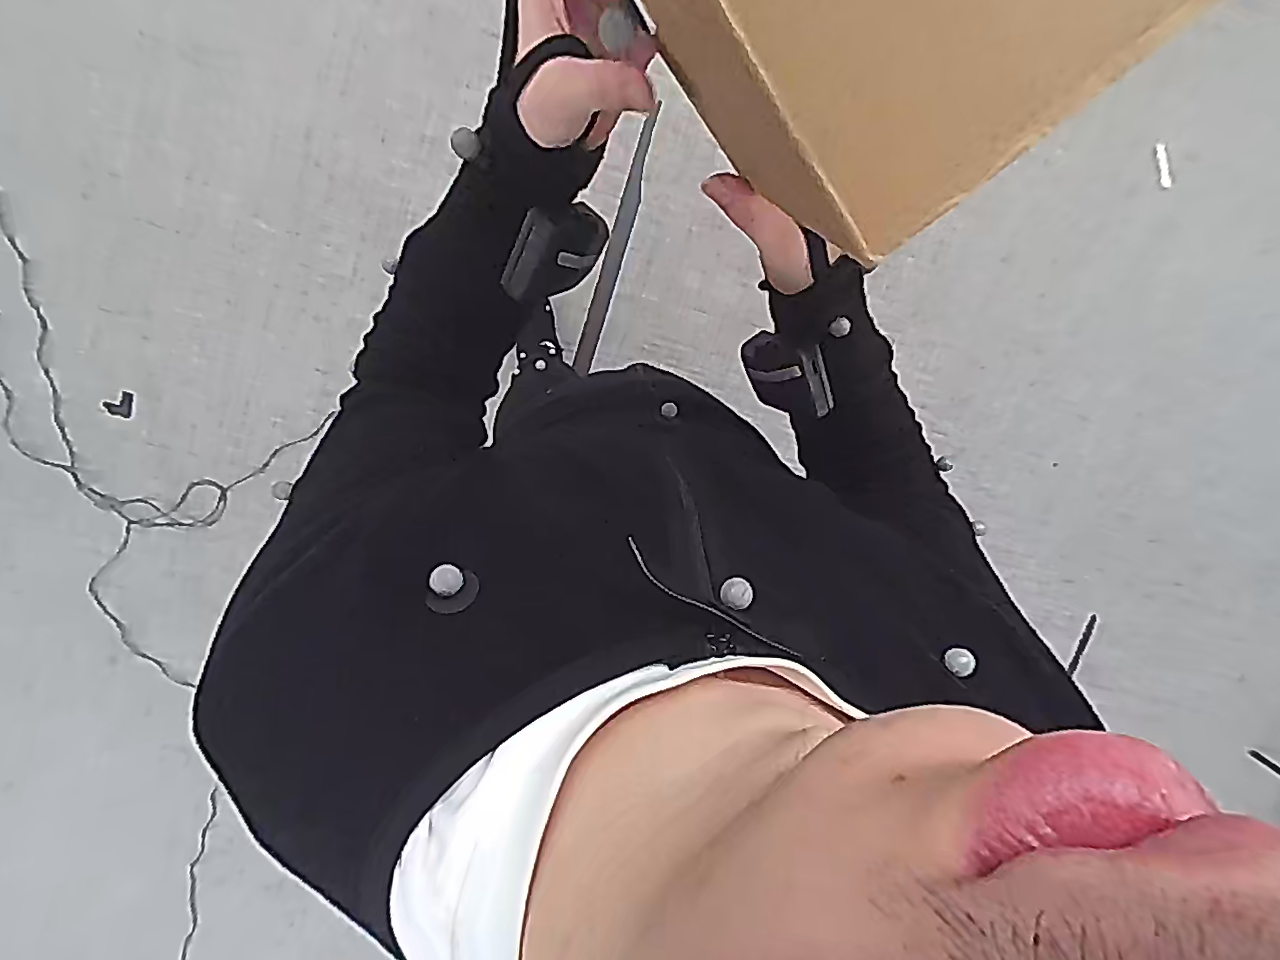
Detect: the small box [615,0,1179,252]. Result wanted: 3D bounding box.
[{"bbox_3d":[0.074,-0.215,0.173,0.179,0.176,0.168,-37,120,21],"label":"small box"}]
